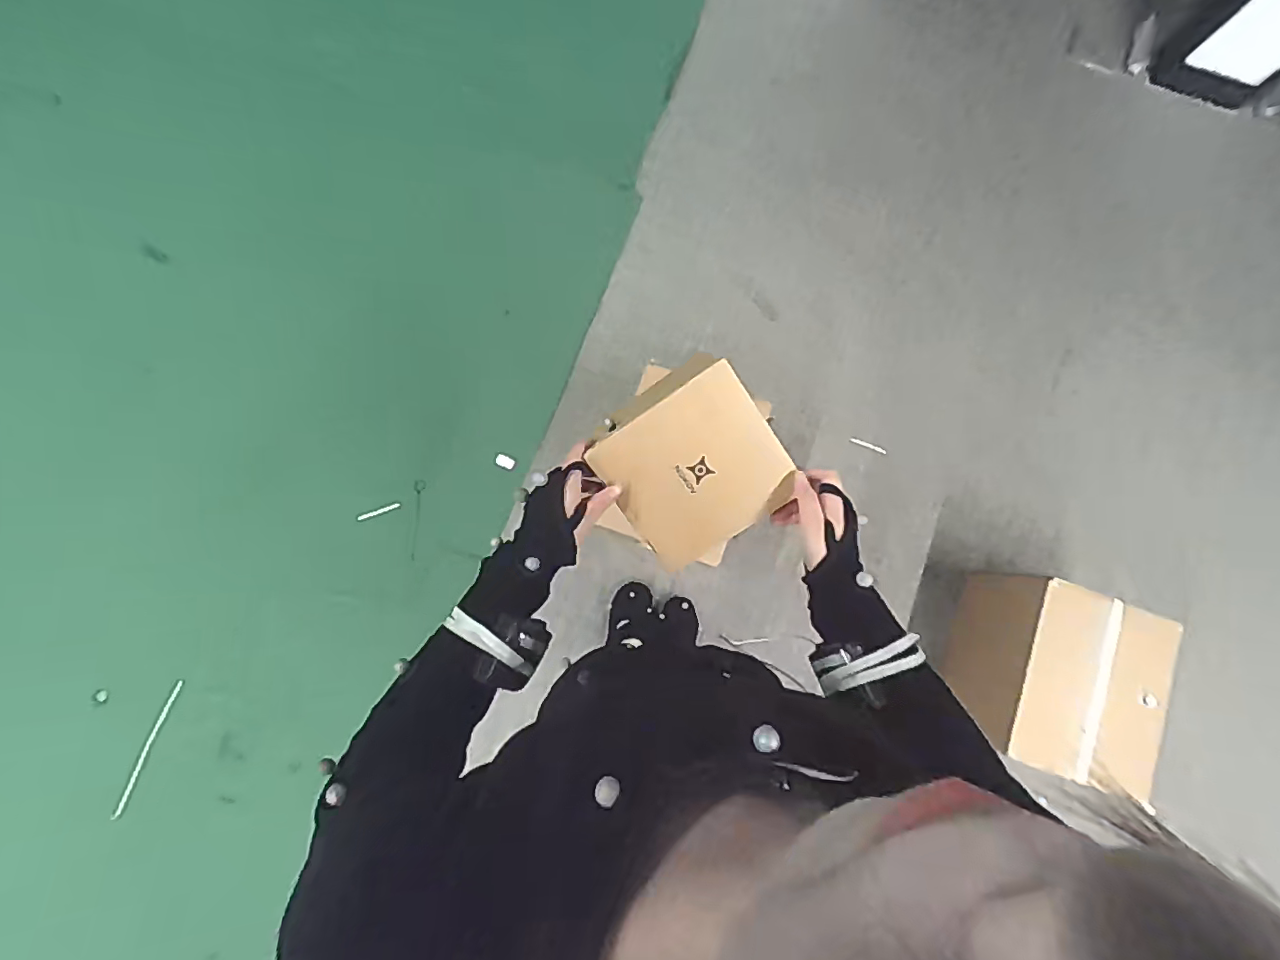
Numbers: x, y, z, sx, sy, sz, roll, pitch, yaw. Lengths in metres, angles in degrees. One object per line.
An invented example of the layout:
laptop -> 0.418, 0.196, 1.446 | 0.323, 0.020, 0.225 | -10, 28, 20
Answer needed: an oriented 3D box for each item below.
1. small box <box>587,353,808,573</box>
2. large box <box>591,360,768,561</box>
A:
small box -> 0.059, -0.032, 0.627 | 0.179, 0.176, 0.168 | -34, 104, 11
large box -> 0.094, -0.027, 1.384 | 0.320, 0.320, 0.408 | 20, 82, 2
